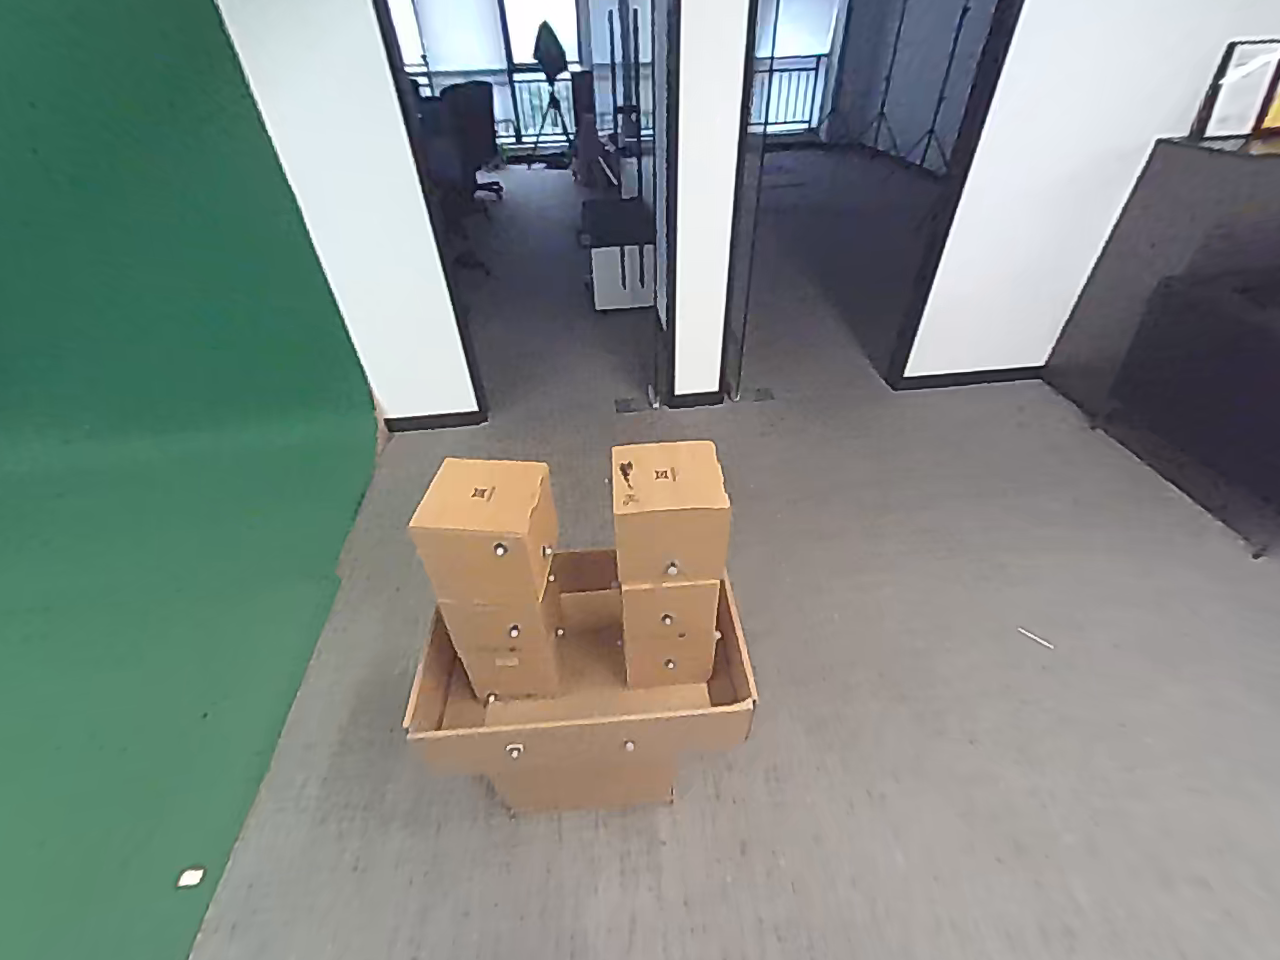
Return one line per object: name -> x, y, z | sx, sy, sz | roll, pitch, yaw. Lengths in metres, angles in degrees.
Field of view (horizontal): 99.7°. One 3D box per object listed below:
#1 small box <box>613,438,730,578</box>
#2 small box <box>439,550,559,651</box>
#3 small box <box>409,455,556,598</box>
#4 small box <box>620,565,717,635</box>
small box -> 0.045, 0.048, 0.903 | 0.179, 0.176, 0.168 | -3, 41, -1
small box -> -0.246, 0.198, 0.998 | 0.168, 0.176, 0.179 | 0, 40, 1
small box -> -0.244, 0.077, 0.890 | 0.179, 0.176, 0.168 | 3, 40, 3
small box -> 0.047, 0.174, 1.009 | 0.168, 0.176, 0.179 | -3, 41, -2
